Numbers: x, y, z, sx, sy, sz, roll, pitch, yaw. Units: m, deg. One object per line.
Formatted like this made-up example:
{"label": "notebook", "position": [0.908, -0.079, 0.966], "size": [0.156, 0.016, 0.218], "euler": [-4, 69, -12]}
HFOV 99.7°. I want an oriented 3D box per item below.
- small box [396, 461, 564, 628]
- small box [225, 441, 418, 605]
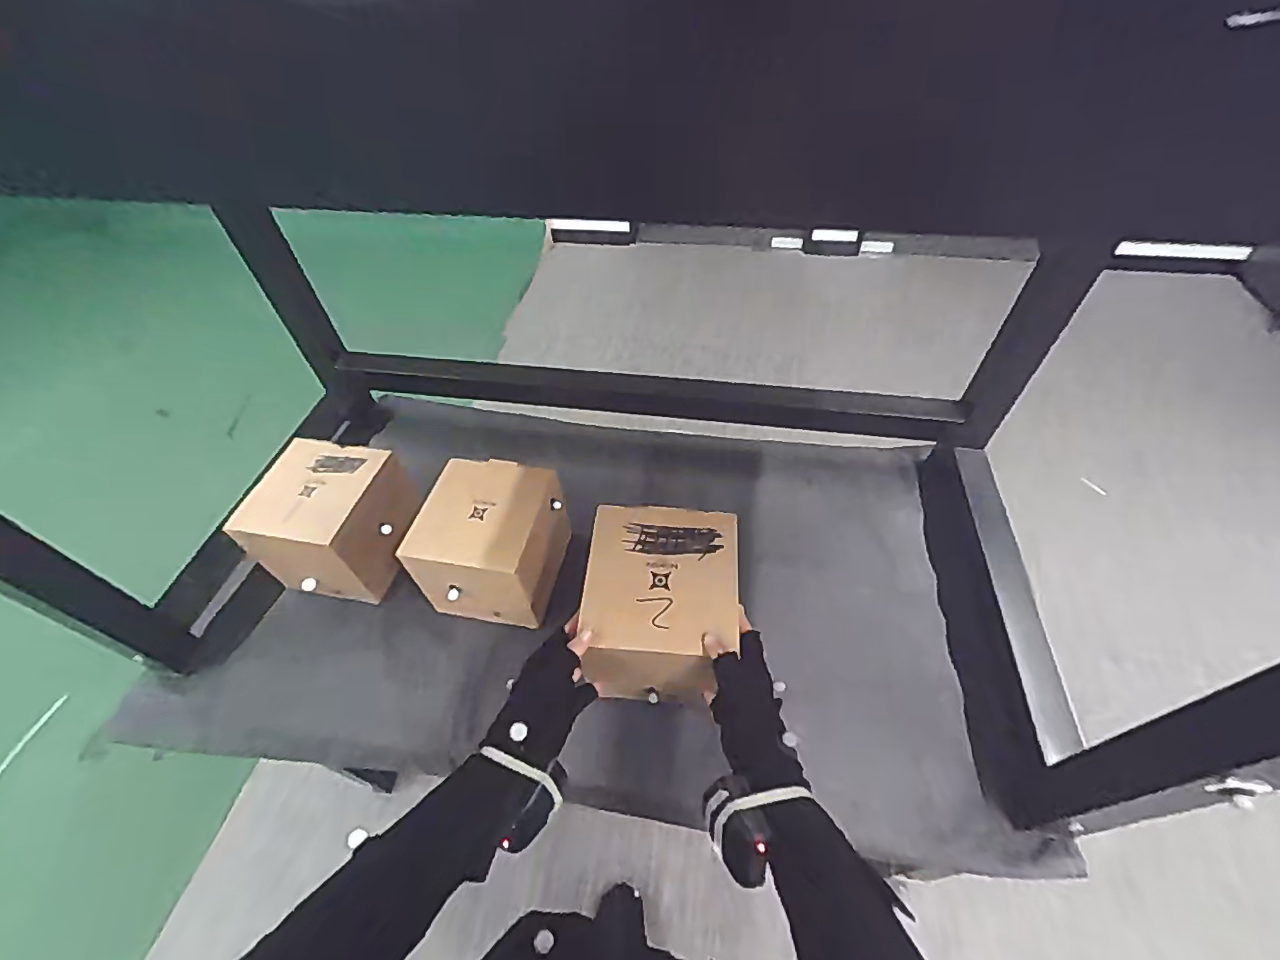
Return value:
{"label": "small box", "position": [-0.219, 0.098, 0.800], "size": [0.168, 0.176, 0.179], "euler": [7, 50, 9]}
{"label": "small box", "position": [-0.467, 0.067, 0.835], "size": [0.168, 0.176, 0.179], "euler": [7, 51, 9]}
